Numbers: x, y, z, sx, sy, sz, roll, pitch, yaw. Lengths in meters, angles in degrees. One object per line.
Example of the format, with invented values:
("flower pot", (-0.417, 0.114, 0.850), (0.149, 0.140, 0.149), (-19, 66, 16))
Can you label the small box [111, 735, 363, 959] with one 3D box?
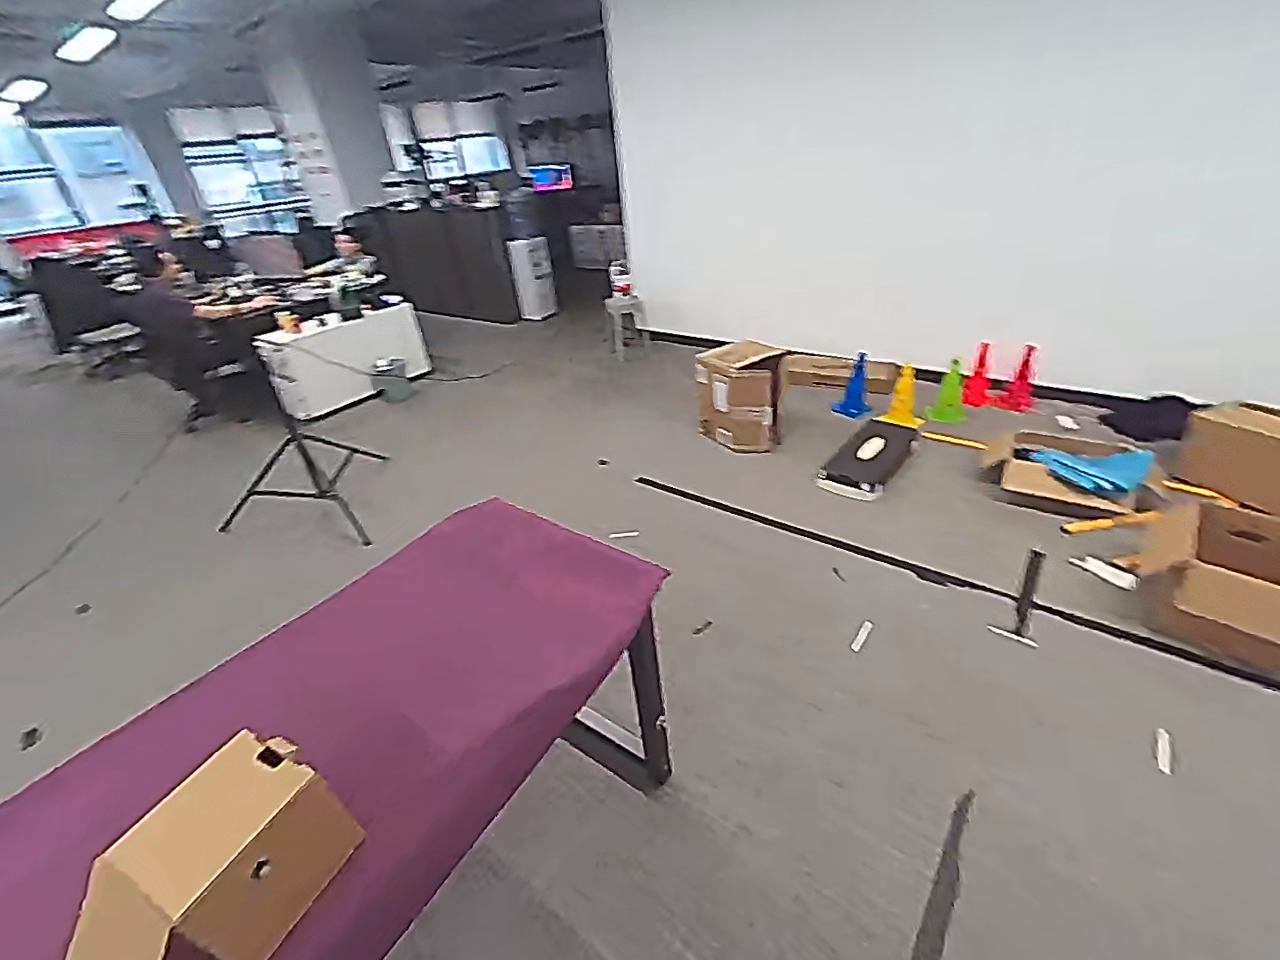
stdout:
("small box", (-0.507, 0.482, 0.705), (0.168, 0.176, 0.179), (10, 36, 26))
